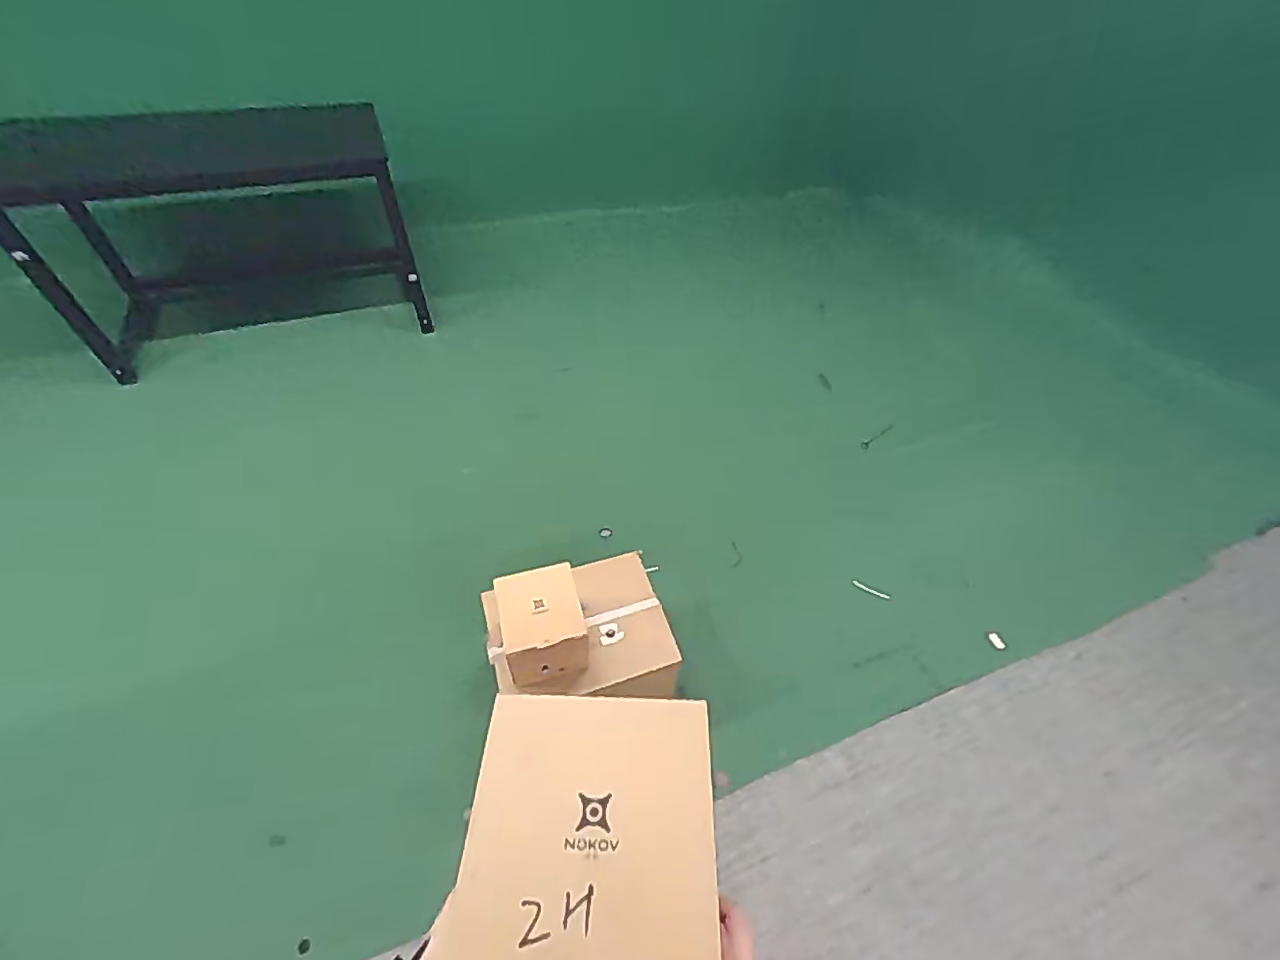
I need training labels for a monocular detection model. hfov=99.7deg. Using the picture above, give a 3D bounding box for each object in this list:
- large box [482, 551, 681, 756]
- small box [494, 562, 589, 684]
[{"bbox_3d":[-0.152,0.436,1.366,0.408,0.320,0.320,-13,52,-16],"label":"large box"},{"bbox_3d":[-0.209,0.305,1.154,0.168,0.176,0.179,-11,52,-14],"label":"small box"}]
